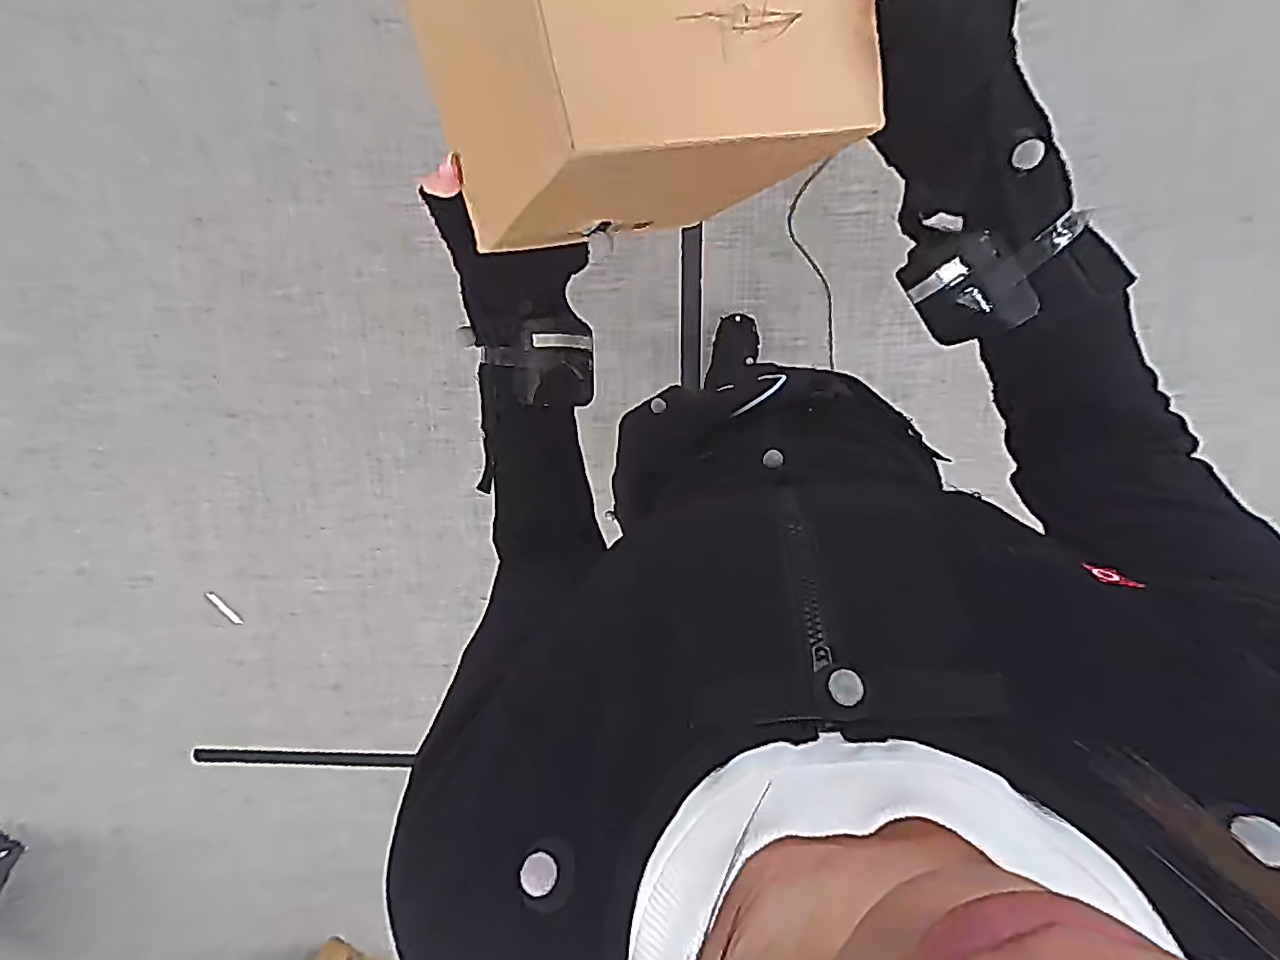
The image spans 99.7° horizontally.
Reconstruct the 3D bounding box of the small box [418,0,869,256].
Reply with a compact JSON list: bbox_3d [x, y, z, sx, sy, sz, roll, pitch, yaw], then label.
[{"bbox_3d":[-0.011,-0.240,0.289,0.168,0.176,0.179,-20,106,-23],"label":"small box"}]
